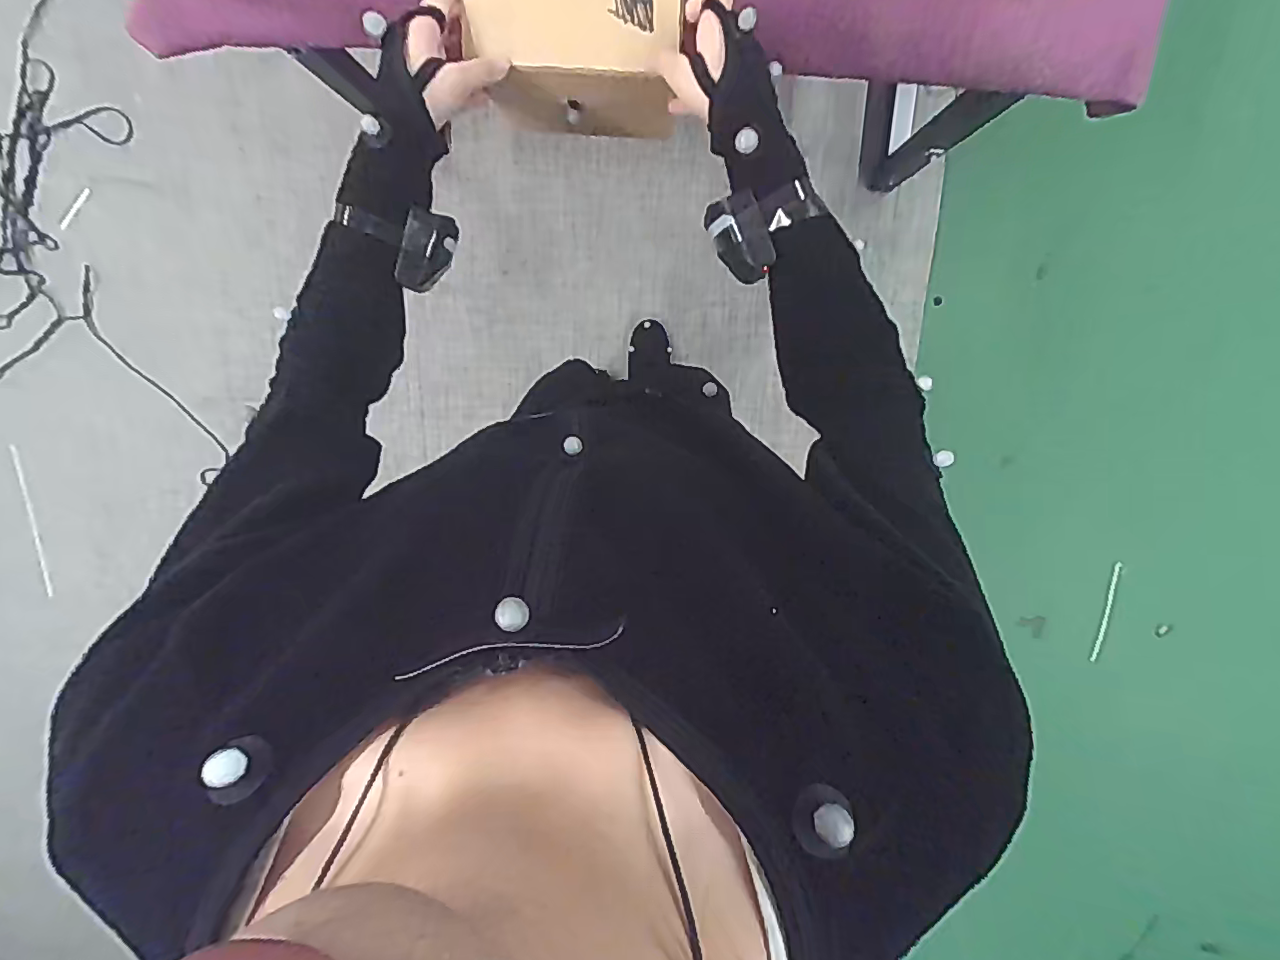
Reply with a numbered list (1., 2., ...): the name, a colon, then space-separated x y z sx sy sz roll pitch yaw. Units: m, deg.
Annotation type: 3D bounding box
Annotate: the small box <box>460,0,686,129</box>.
1. small box: -0.048 -0.432 0.479 0.179 0.176 0.168 4 107 1
